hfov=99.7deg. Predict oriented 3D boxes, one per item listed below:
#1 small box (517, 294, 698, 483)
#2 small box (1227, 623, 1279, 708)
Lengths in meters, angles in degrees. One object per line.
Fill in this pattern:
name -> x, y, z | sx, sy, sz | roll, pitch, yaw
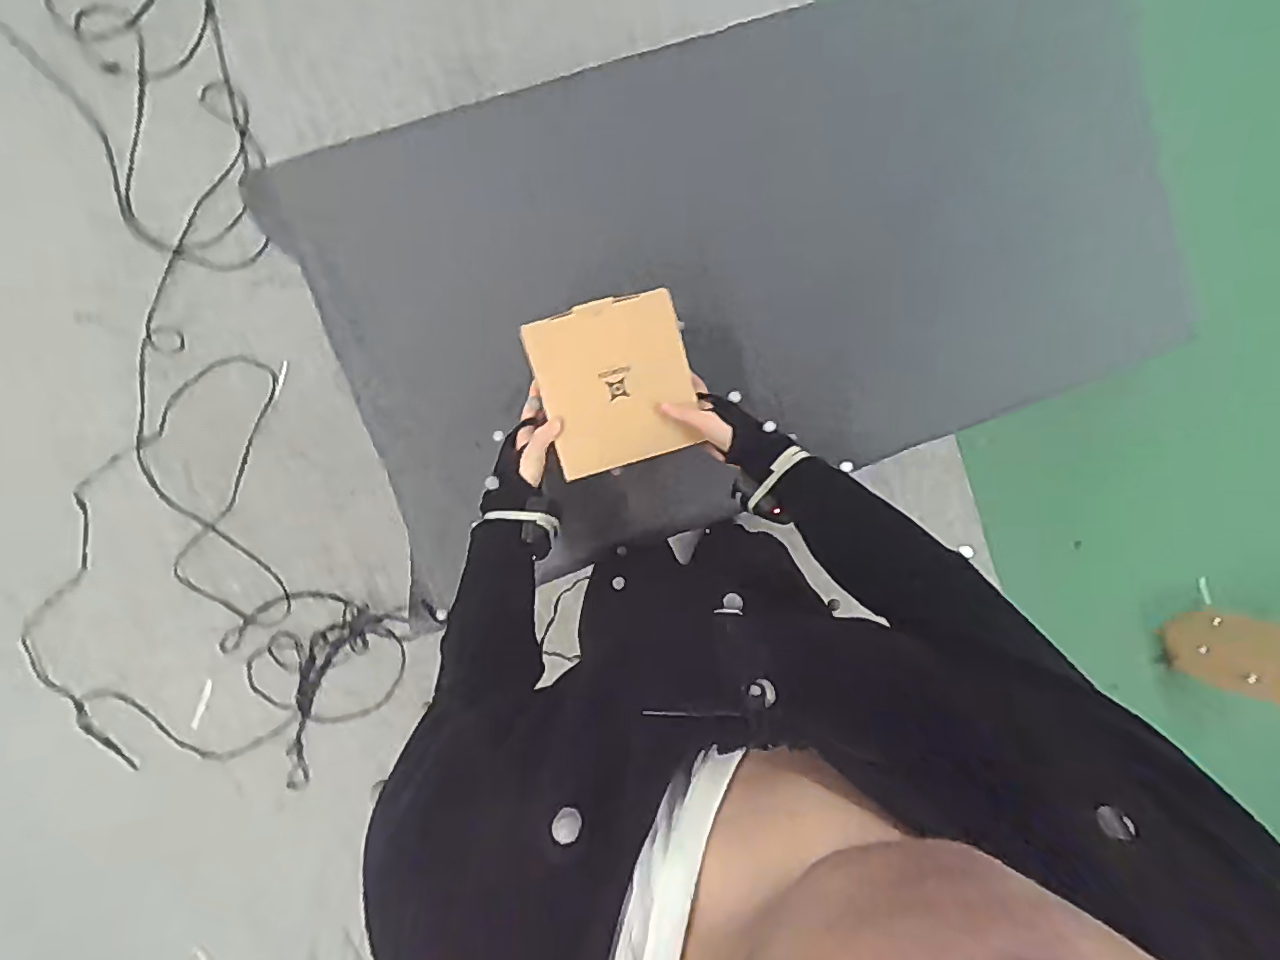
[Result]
small box -> -0.040, -0.106, 0.671 | 0.168, 0.176, 0.179 | -16, 95, -5
small box -> 1.812, 0.523, 1.500 | 0.179, 0.176, 0.168 | -25, 96, -5
